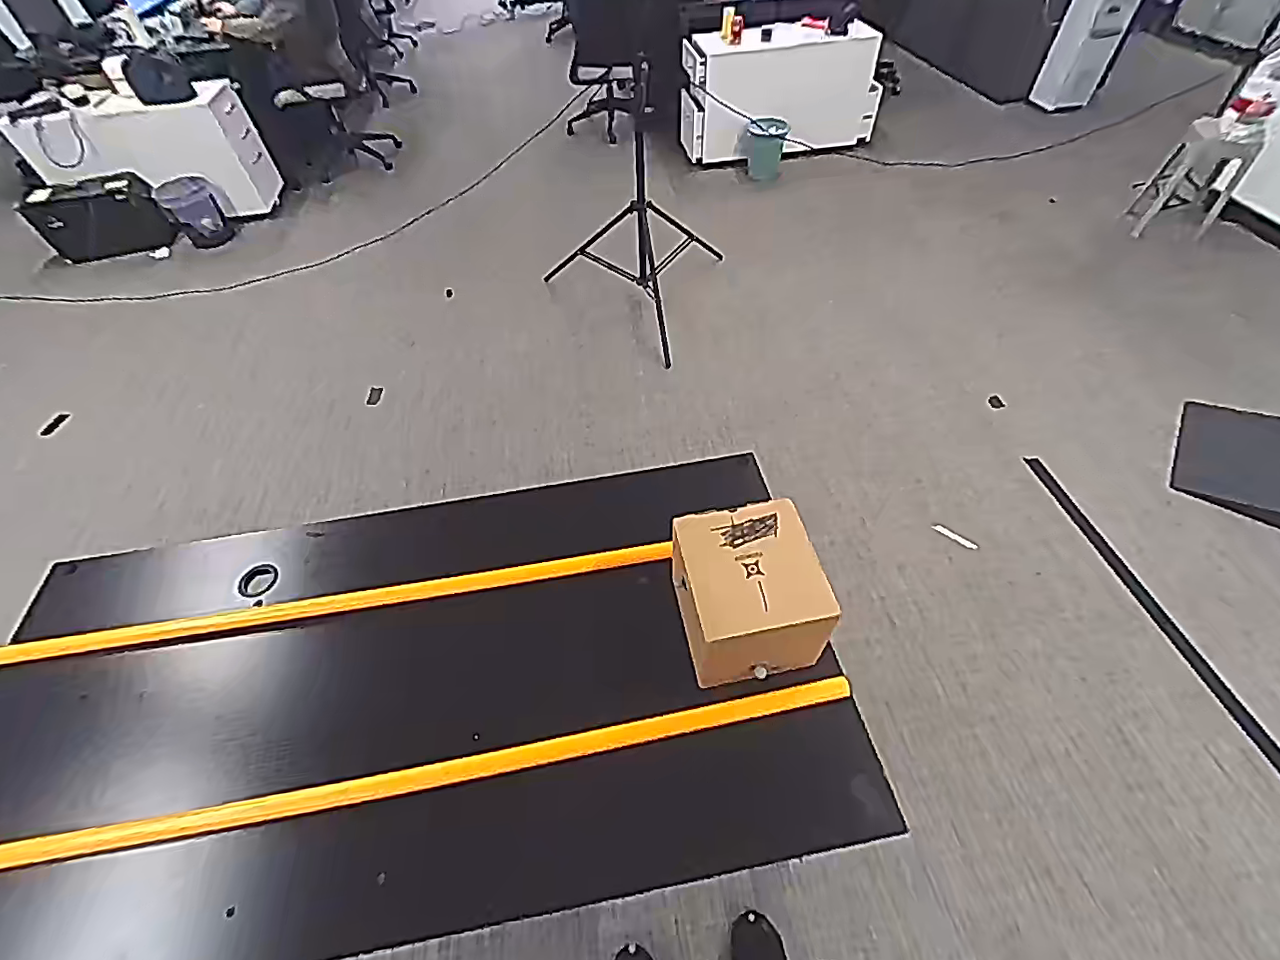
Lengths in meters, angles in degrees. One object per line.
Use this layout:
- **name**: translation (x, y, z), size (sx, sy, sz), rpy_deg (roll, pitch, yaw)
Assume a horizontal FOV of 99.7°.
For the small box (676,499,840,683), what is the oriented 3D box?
- **small box**: translation (0.144, 0.154, 0.741), size (0.168, 0.176, 0.179), rpy_deg (-10, 52, -4)
